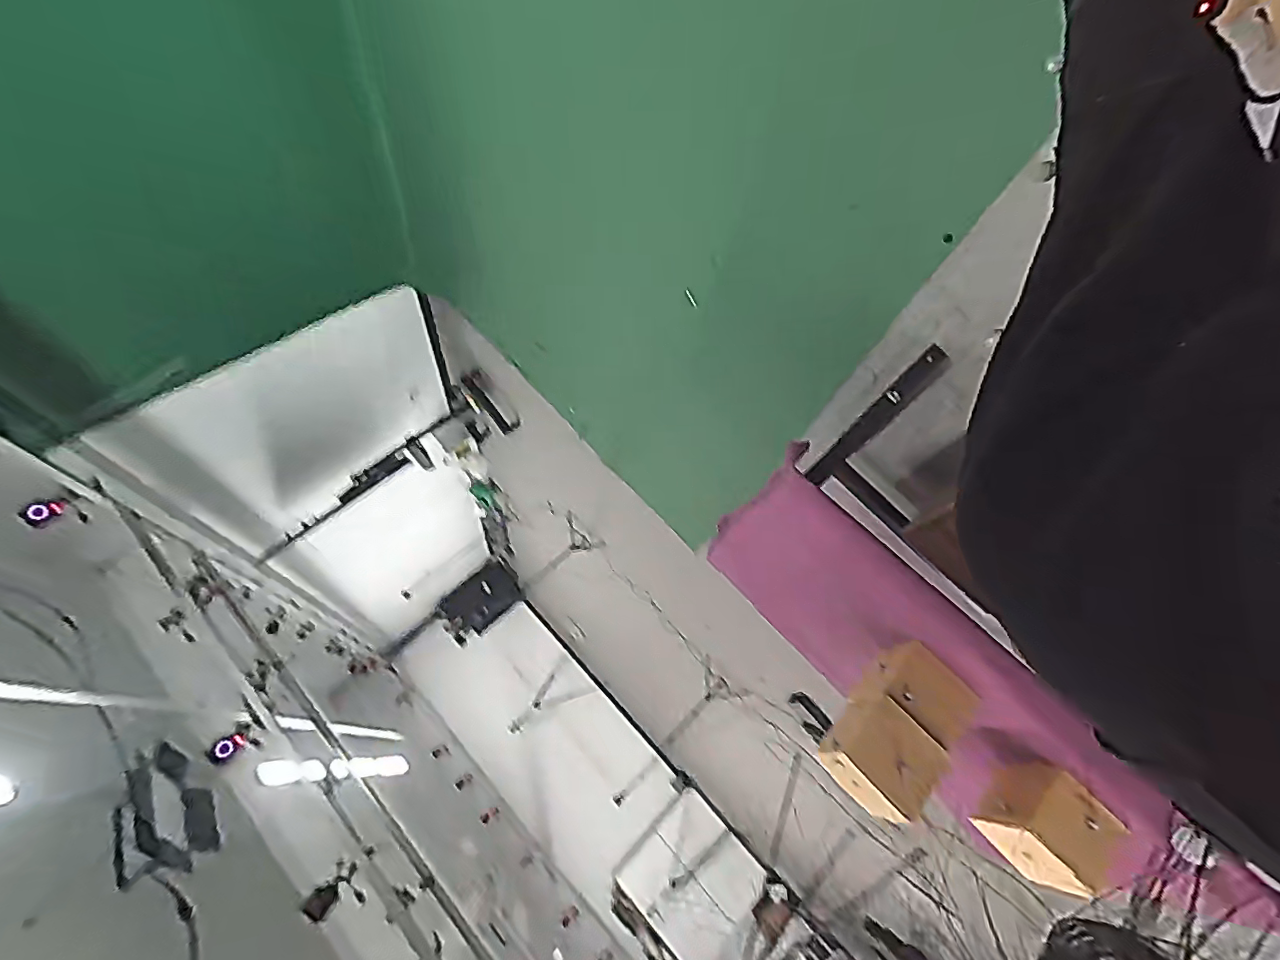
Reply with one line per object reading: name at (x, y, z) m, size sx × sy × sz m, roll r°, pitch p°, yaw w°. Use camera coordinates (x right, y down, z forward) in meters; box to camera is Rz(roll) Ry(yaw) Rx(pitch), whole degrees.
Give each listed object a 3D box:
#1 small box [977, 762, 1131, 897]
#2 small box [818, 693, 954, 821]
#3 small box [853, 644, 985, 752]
small box at (0.889, 0.735, 1.165) m, size 0.168 × 0.176 × 0.179 m, roll 46°, pitch 156°, yaw 12°
small box at (0.532, 0.592, 1.172) m, size 0.179 × 0.176 × 0.168 m, roll 44°, pitch 155°, yaw 14°
small box at (0.642, 0.501, 1.254) m, size 0.179 × 0.176 × 0.168 m, roll 44°, pitch 157°, yaw 13°
